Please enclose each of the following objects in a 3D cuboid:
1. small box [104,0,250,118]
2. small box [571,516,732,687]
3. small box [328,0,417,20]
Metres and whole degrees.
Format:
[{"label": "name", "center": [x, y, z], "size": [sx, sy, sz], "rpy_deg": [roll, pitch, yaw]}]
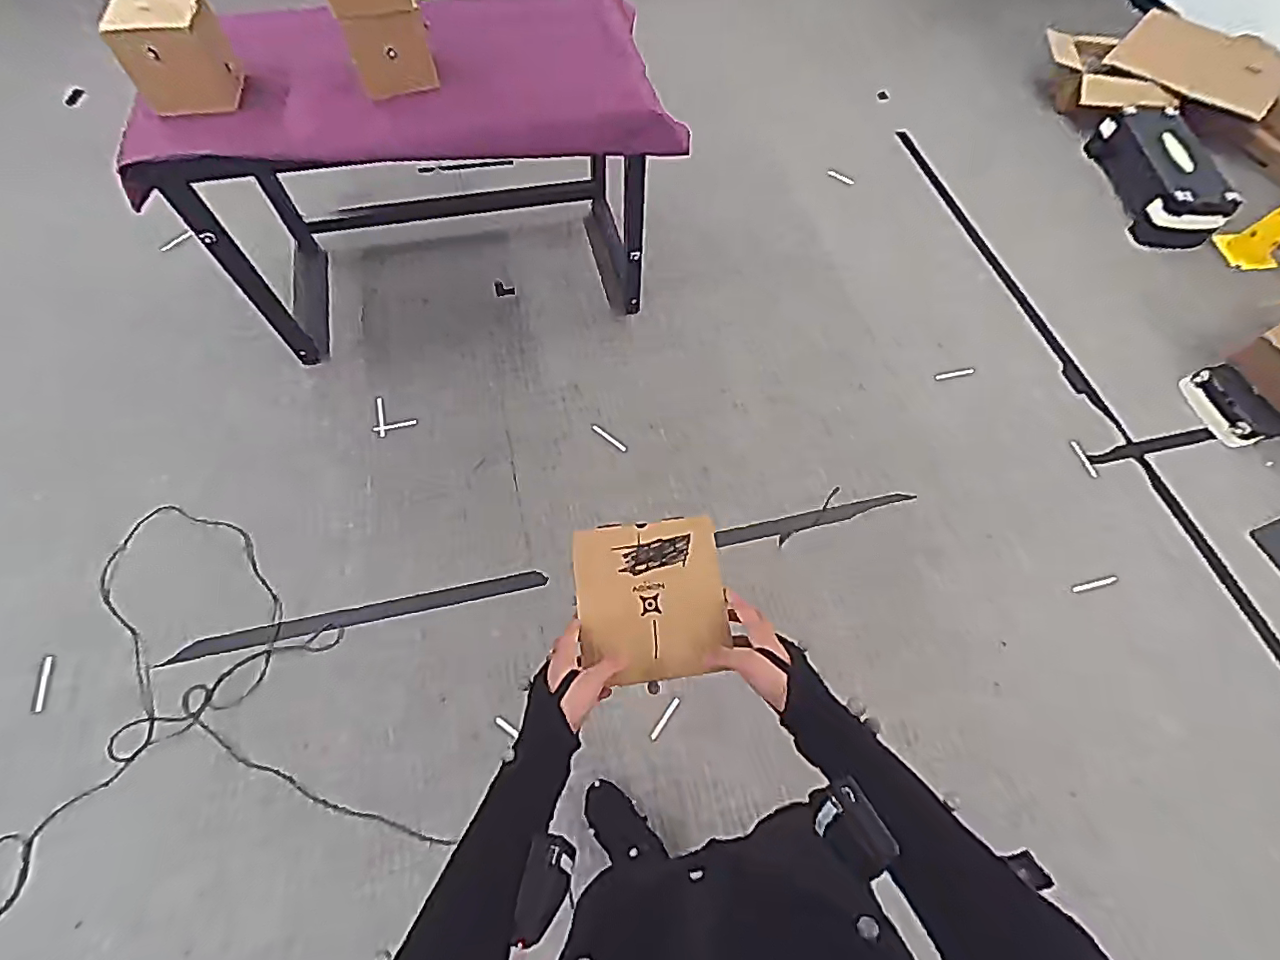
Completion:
[{"label": "small box", "center": [-1.035, -0.953, 1.226], "size": [0.179, 0.176, 0.168], "rpy_deg": [-9, 64, -8]}, {"label": "small box", "center": [0.007, 0.158, 0.675], "size": [0.168, 0.176, 0.179], "rpy_deg": [-6, 71, -2]}, {"label": "small box", "center": [-0.596, -1.115, 1.147], "size": [0.179, 0.176, 0.168], "rpy_deg": [-14, 65, -9]}]
